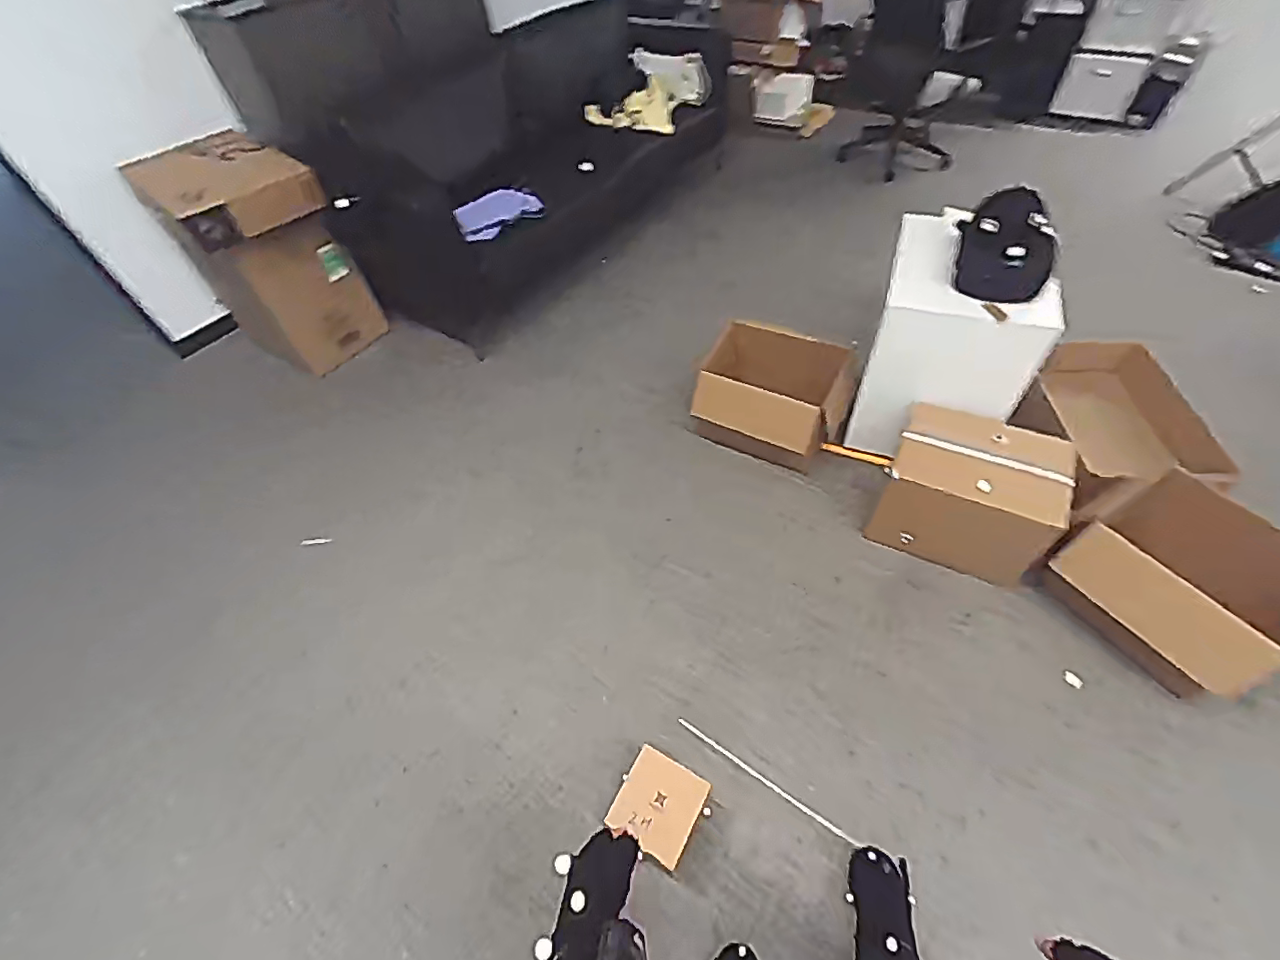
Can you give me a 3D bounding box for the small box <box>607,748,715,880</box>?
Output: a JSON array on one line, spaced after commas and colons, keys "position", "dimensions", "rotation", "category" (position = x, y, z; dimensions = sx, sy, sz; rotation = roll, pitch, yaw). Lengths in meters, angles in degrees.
[{"position": [0.048, 0.728, 1.176], "dimensions": [0.168, 0.176, 0.179], "rotation": [23, 56, 23], "category": "small box"}]
